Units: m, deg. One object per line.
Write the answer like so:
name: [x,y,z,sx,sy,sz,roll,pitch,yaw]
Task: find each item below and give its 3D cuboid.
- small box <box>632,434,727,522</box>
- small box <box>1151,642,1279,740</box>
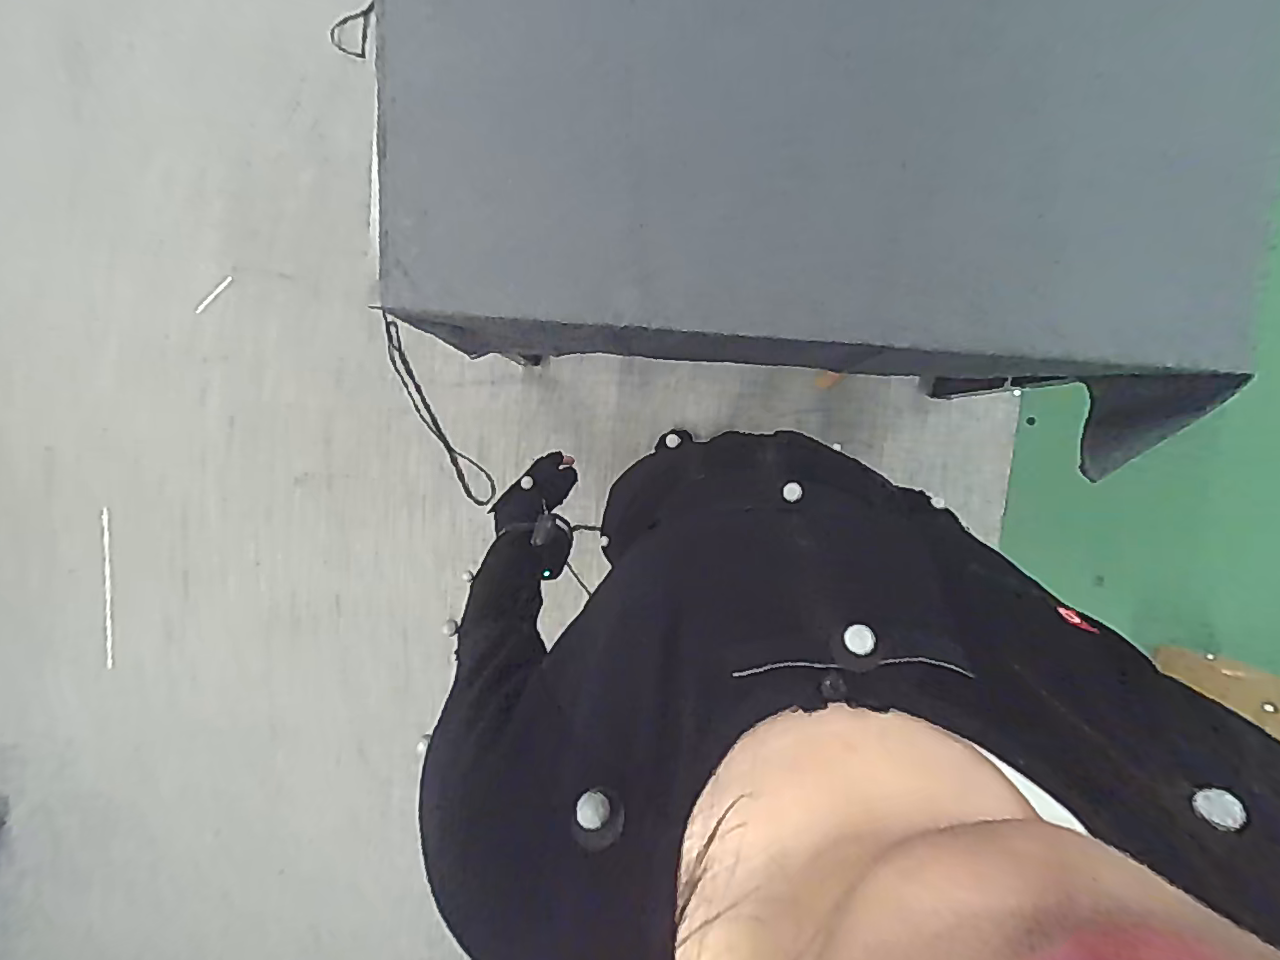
small box: [0.100,-0.009,1.429,0.179,0.176,0.168,44,107,14]
small box: [1.494,0.535,1.398,0.179,0.176,0.168,10,96,2]
